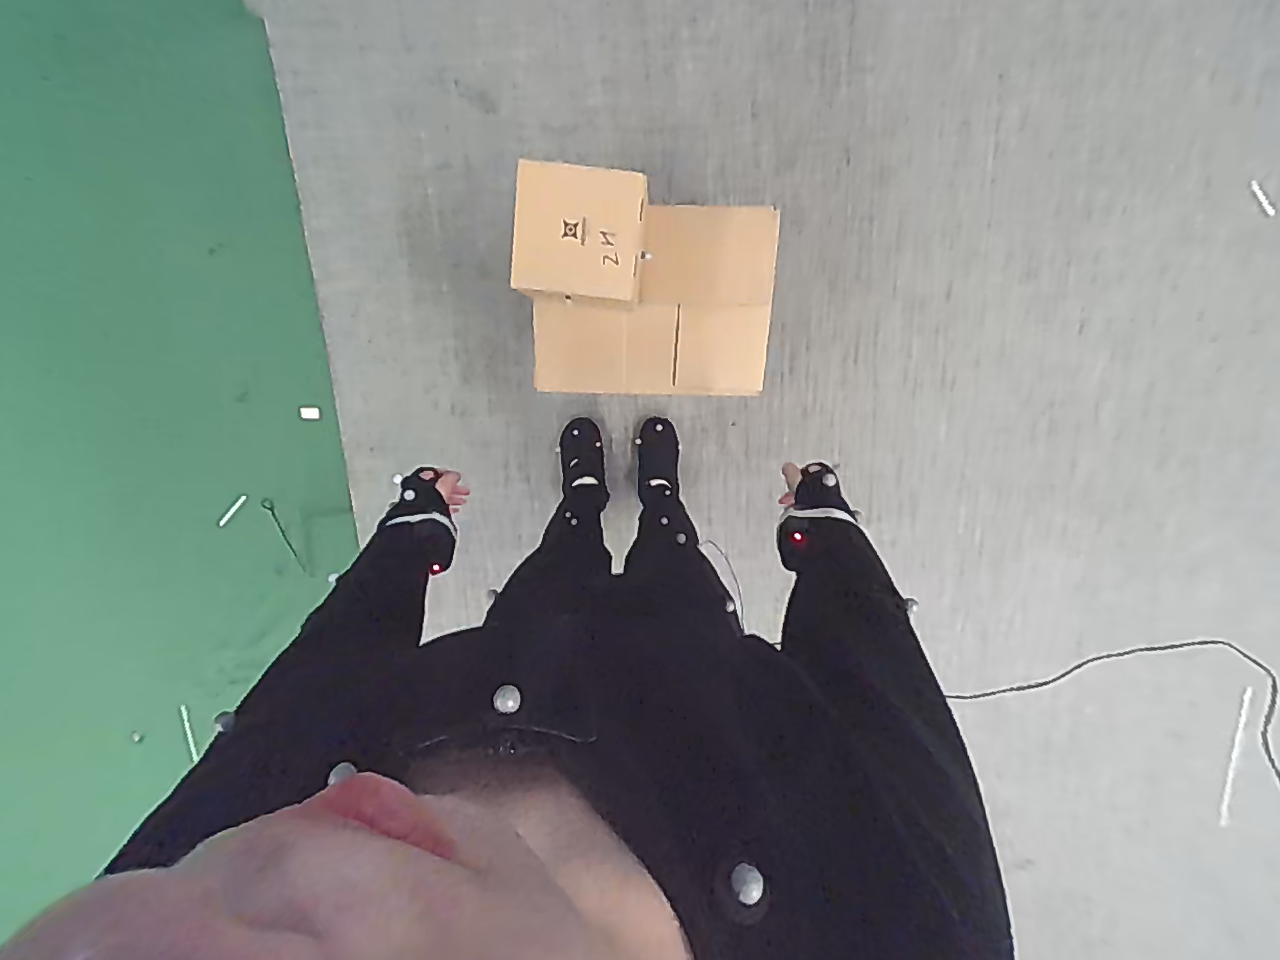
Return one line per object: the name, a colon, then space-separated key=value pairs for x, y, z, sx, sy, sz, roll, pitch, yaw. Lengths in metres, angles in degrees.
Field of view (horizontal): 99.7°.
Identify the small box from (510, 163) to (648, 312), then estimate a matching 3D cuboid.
small box: x=-0.084 y=-0.354 z=0.819 sx=0.179 sy=0.176 sz=0.168 roll=7 pitch=103 yaw=0
